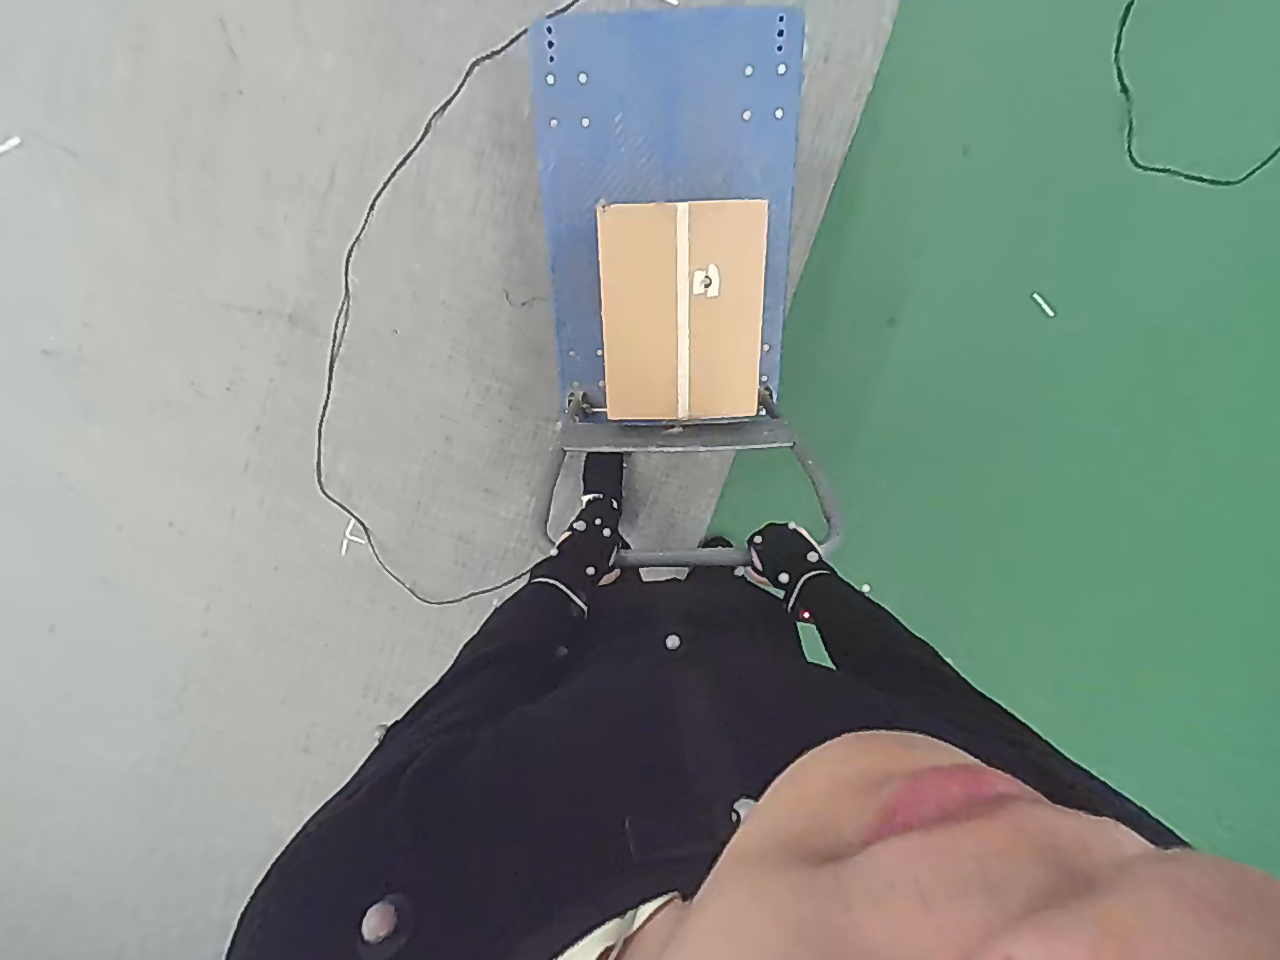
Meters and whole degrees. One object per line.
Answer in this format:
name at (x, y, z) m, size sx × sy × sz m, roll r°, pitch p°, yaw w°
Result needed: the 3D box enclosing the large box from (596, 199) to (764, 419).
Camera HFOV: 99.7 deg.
large box at (0.087, -0.370, 1.190) m, size 0.320 × 0.320 × 0.408 m, roll -2°, pitch 111°, yaw 1°
